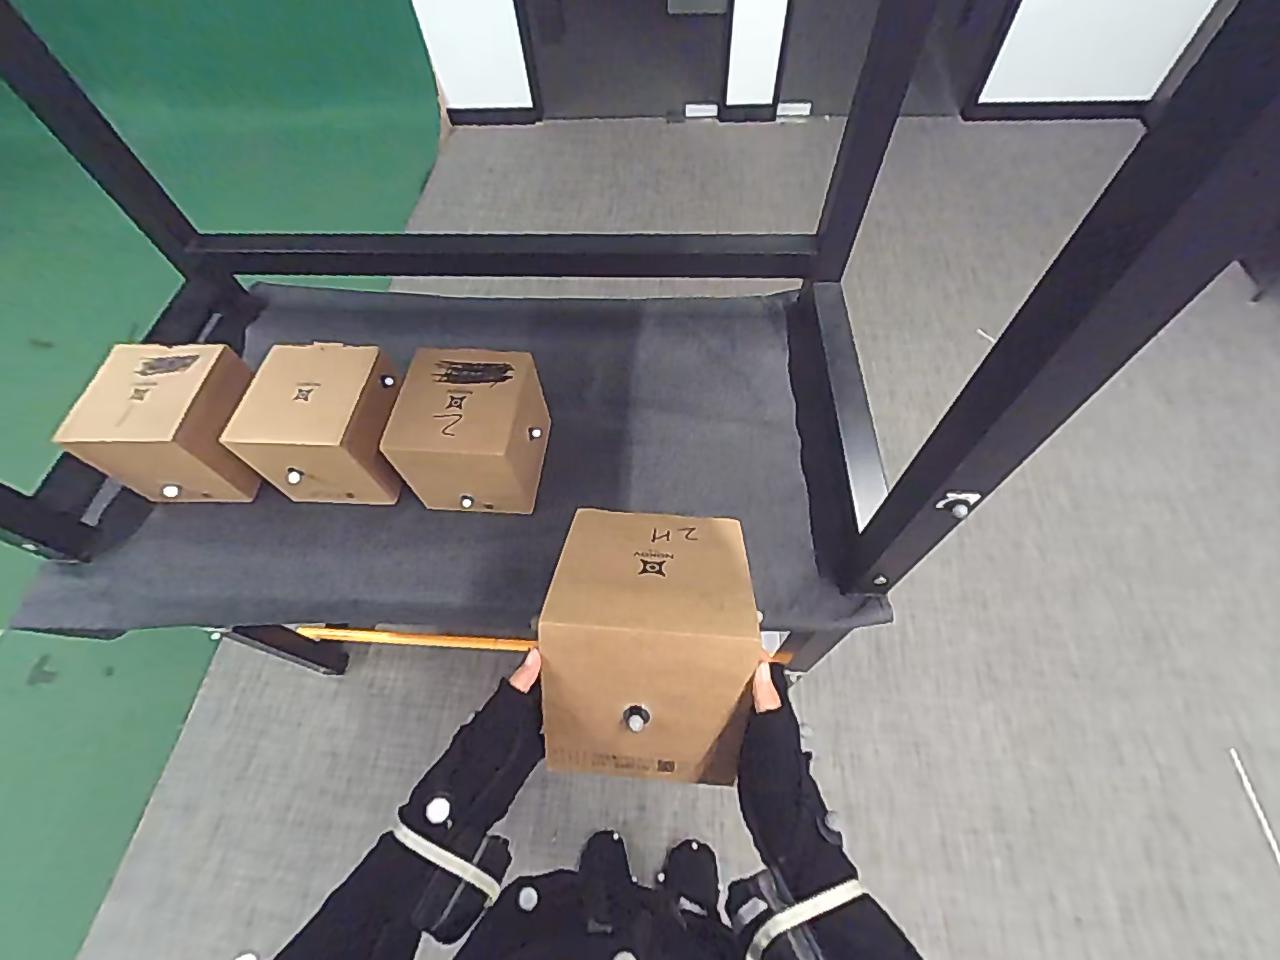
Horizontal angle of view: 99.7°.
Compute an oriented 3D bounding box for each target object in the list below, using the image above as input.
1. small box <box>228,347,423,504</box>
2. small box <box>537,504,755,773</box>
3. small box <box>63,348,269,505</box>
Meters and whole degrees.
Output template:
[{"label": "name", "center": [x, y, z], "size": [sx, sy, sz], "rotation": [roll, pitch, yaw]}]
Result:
[{"label": "small box", "center": [-0.449, -0.076, 0.810], "size": [0.168, 0.176, 0.179], "rotation": [2, 58, 4]}, {"label": "small box", "center": [0.009, 0.140, 0.506], "size": [0.168, 0.176, 0.179], "rotation": [4, 26, 3]}, {"label": "small box", "center": [-0.676, -0.078, 0.821], "size": [0.168, 0.176, 0.179], "rotation": [-1, 59, 3]}]
